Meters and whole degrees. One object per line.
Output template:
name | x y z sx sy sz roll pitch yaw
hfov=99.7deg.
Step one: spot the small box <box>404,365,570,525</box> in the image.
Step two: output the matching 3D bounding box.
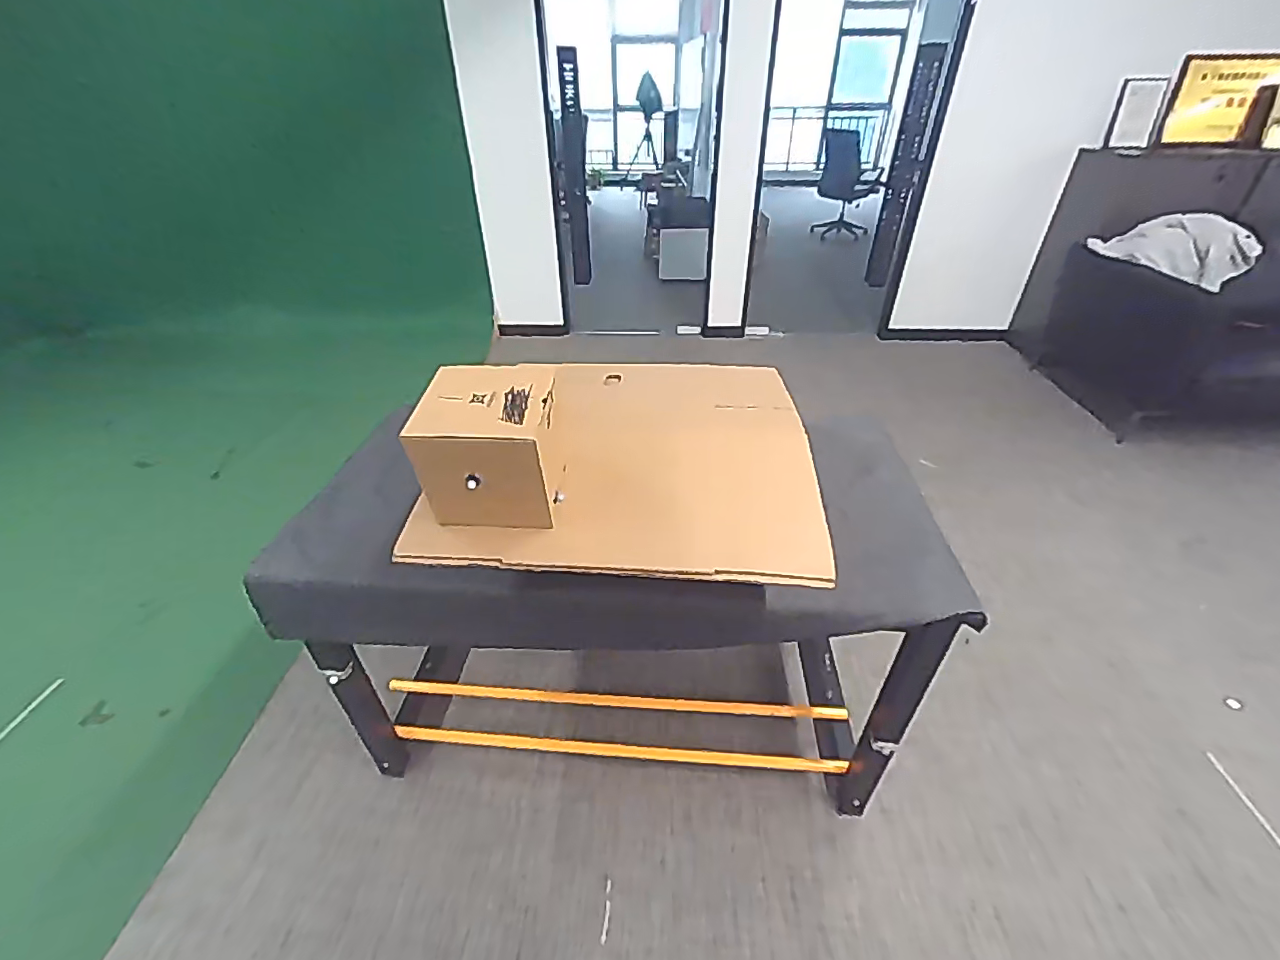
small box | -0.204 -0.048 0.785 0.179 0.176 0.168 1 44 4
